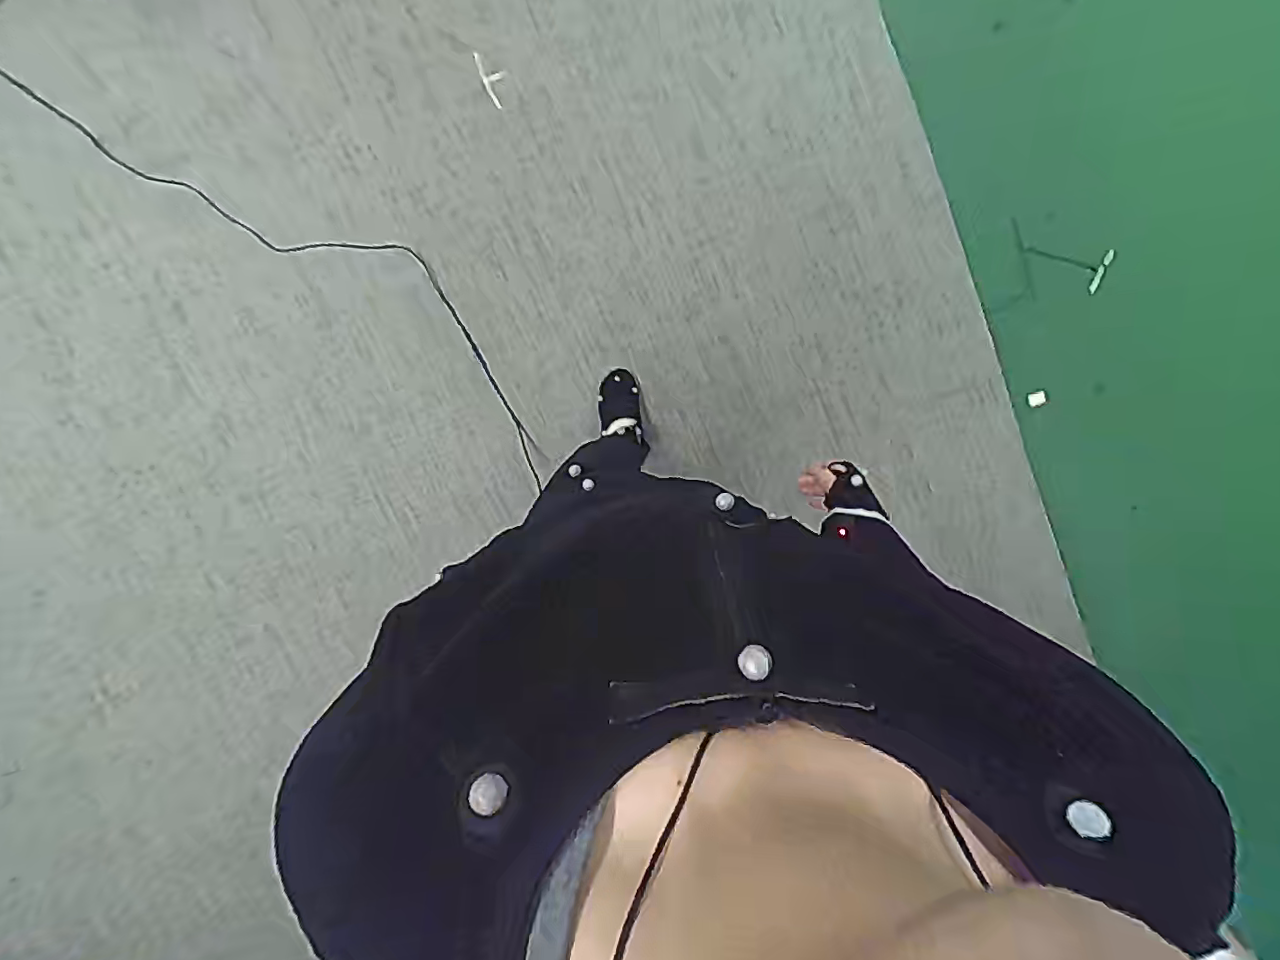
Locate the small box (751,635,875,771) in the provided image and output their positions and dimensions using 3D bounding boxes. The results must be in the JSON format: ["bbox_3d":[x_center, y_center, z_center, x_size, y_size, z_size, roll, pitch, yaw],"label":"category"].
[{"bbox_3d":[0.350,0.460,1.140,0.179,0.176,0.168,-28,98,0],"label":"small box"}]

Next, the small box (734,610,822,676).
[{"bbox_3d":[0.351,0.441,1.304,0.179,0.176,0.168,-29,97,0],"label":"small box"}]
